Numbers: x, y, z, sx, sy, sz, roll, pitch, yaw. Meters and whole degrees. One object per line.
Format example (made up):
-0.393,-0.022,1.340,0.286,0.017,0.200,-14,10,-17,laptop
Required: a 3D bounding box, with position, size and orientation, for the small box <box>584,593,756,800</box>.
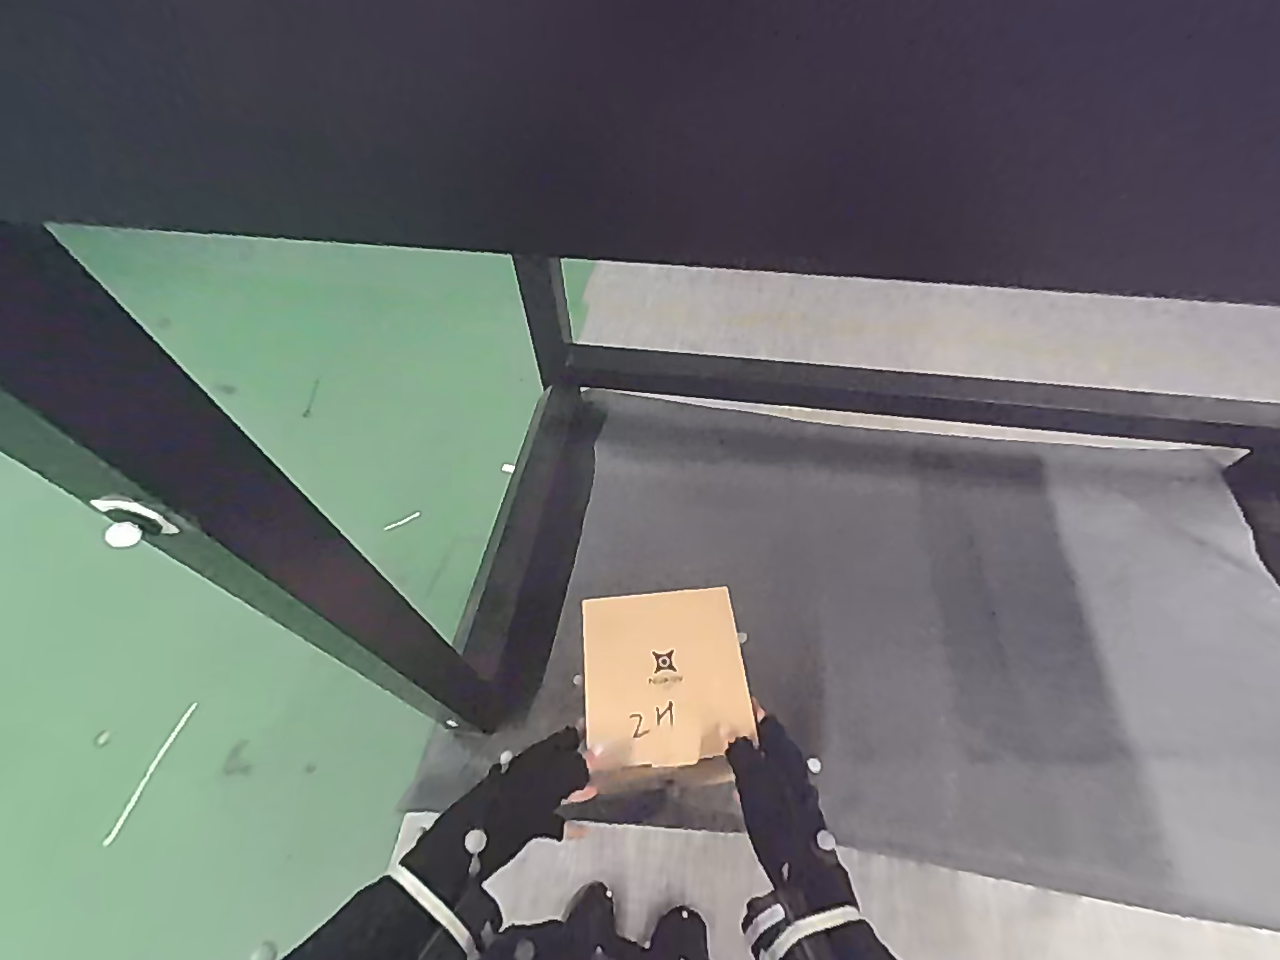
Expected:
0.025,0.251,0.622,0.168,0.176,0.179,-5,53,-2,small box
